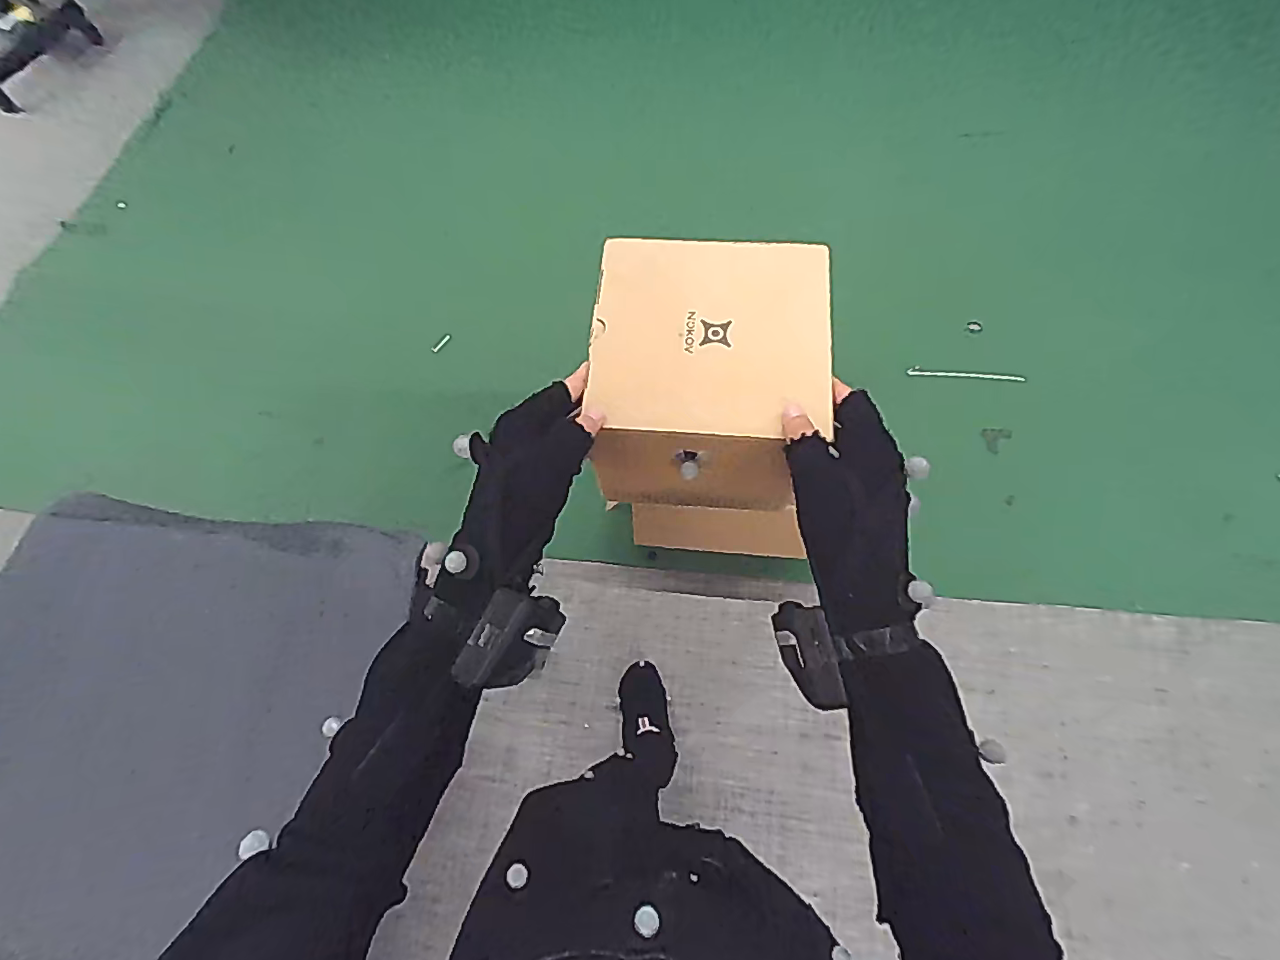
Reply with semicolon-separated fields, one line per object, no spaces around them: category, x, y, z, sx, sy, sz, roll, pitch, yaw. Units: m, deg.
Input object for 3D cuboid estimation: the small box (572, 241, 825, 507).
small box;0.051;-0.079;0.472;0.179;0.176;0.168;4;70;6
